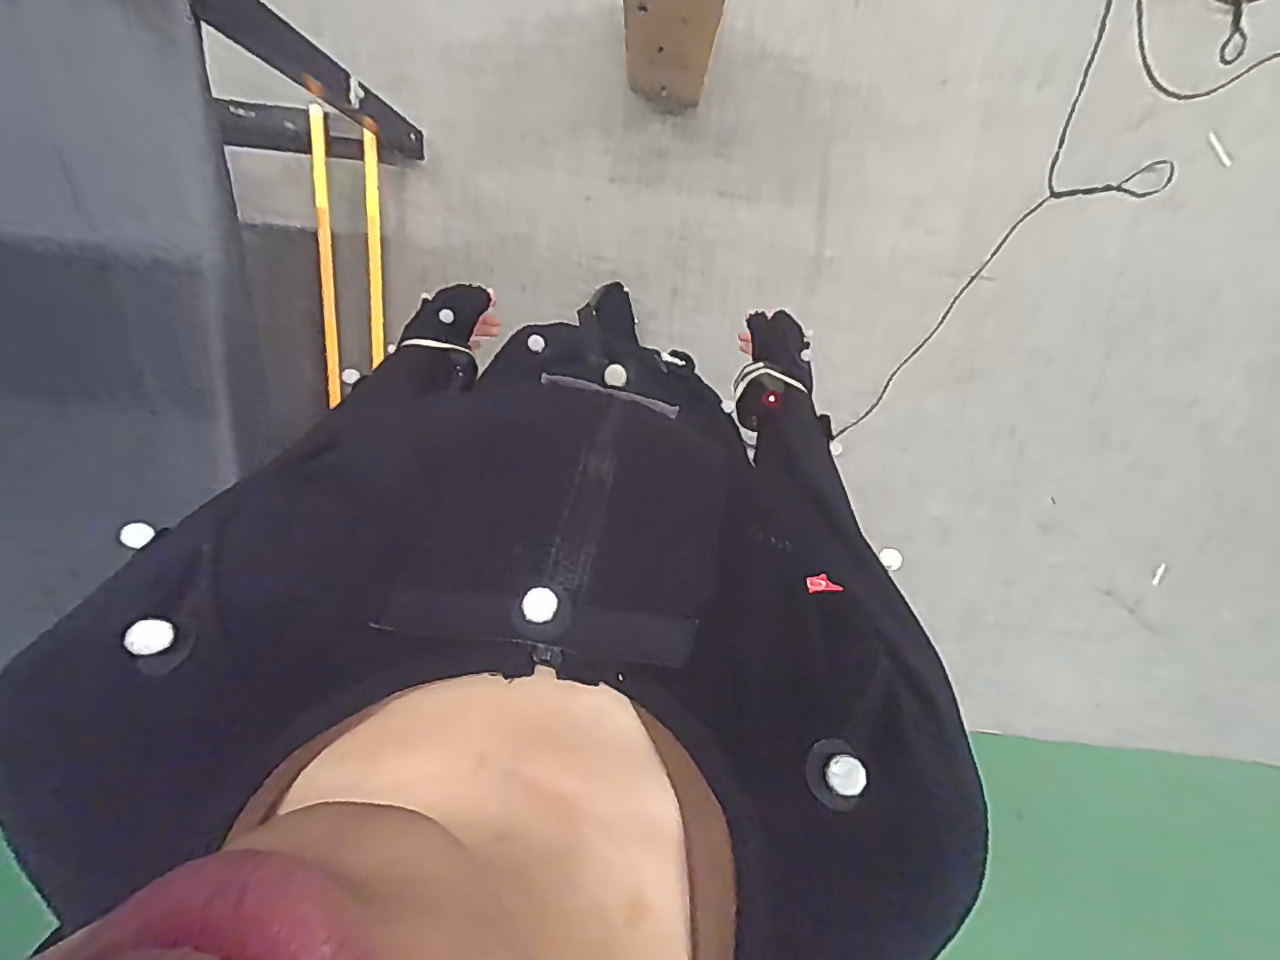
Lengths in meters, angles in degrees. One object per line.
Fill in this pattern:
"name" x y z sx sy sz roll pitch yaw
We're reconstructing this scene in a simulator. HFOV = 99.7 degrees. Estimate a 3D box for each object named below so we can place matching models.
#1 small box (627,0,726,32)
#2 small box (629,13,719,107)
"small box" 0.068 -0.835 0.825 0.168 0.176 0.179 10 107 -3
"small box" 0.075 -0.929 1.137 0.168 0.176 0.179 12 107 -2
